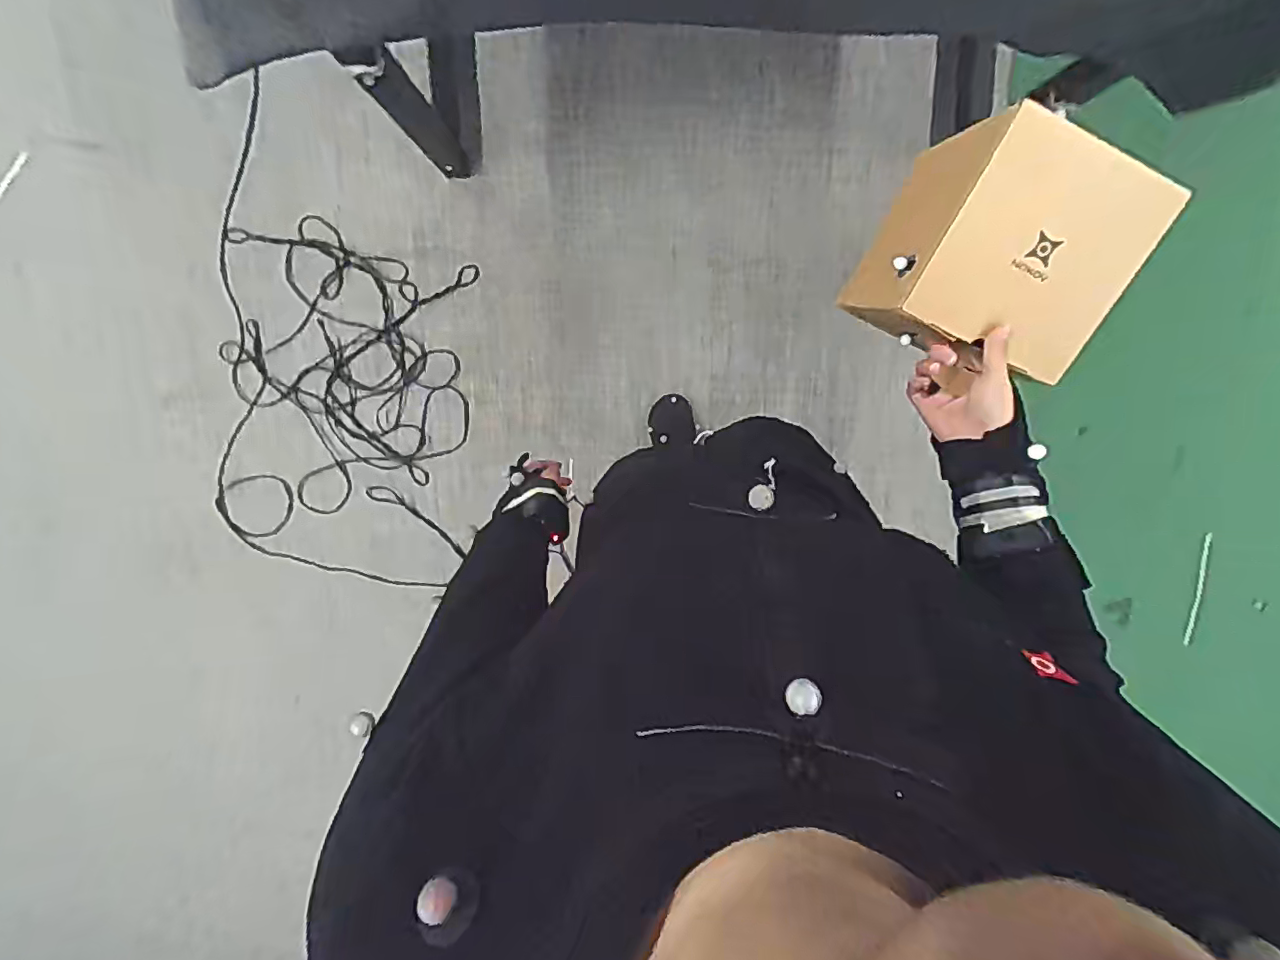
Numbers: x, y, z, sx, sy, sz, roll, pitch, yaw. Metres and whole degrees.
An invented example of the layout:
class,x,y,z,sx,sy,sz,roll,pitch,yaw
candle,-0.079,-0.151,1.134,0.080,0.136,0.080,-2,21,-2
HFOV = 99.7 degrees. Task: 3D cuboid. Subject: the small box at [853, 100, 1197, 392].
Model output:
class,x,y,z,sx,sy,sz,roll,pitch,yaw
small box,0.339,-0.211,0.523,0.168,0.176,0.179,25,108,-7
